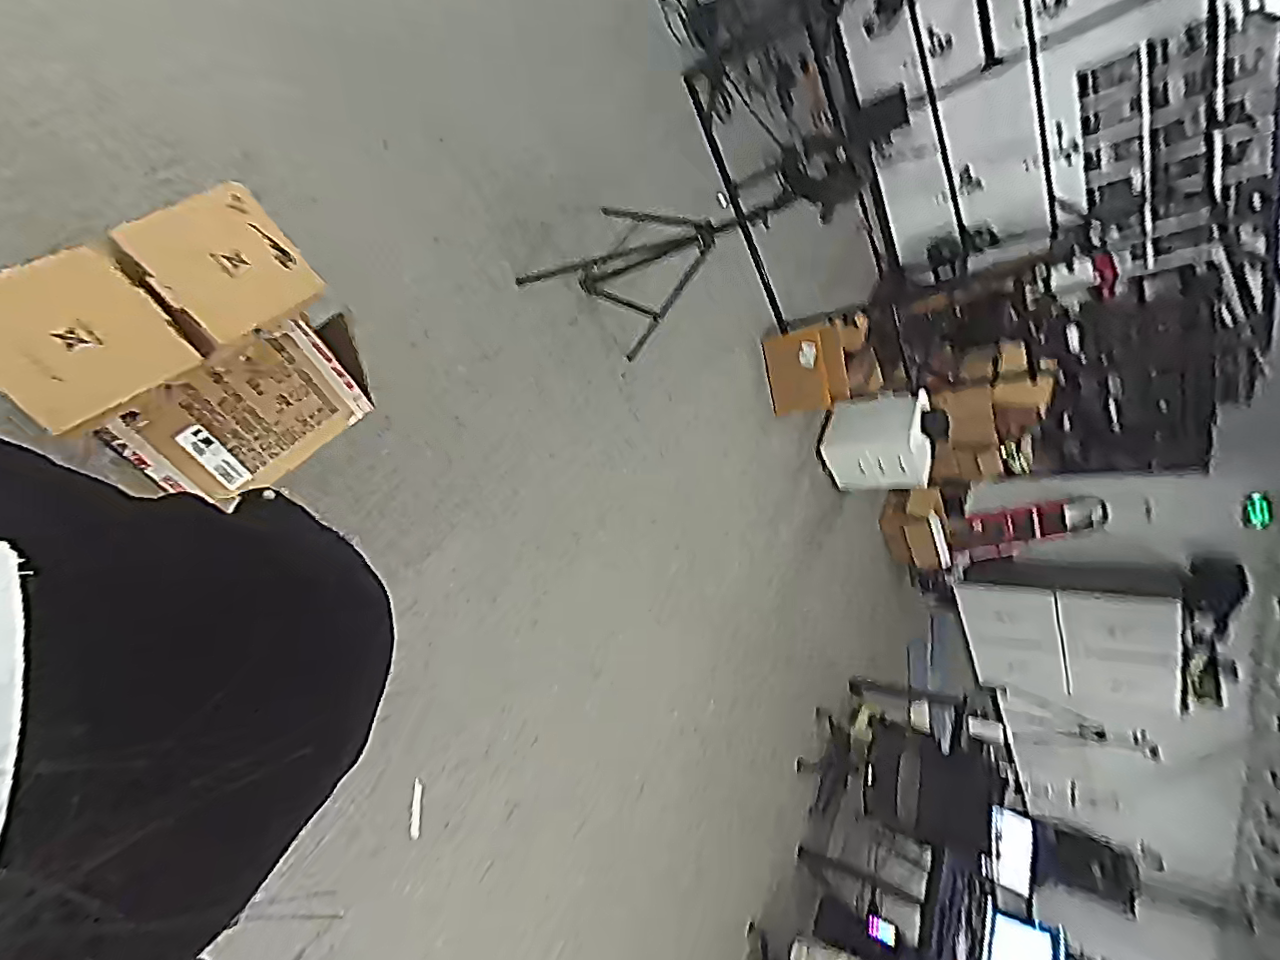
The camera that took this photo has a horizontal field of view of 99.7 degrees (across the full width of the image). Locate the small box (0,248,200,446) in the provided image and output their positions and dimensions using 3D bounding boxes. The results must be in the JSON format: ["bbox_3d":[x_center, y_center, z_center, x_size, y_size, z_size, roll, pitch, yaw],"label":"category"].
[{"bbox_3d":[-0.718,-0.160,0.684,0.179,0.176,0.168,-50,121,-34],"label":"small box"}]
